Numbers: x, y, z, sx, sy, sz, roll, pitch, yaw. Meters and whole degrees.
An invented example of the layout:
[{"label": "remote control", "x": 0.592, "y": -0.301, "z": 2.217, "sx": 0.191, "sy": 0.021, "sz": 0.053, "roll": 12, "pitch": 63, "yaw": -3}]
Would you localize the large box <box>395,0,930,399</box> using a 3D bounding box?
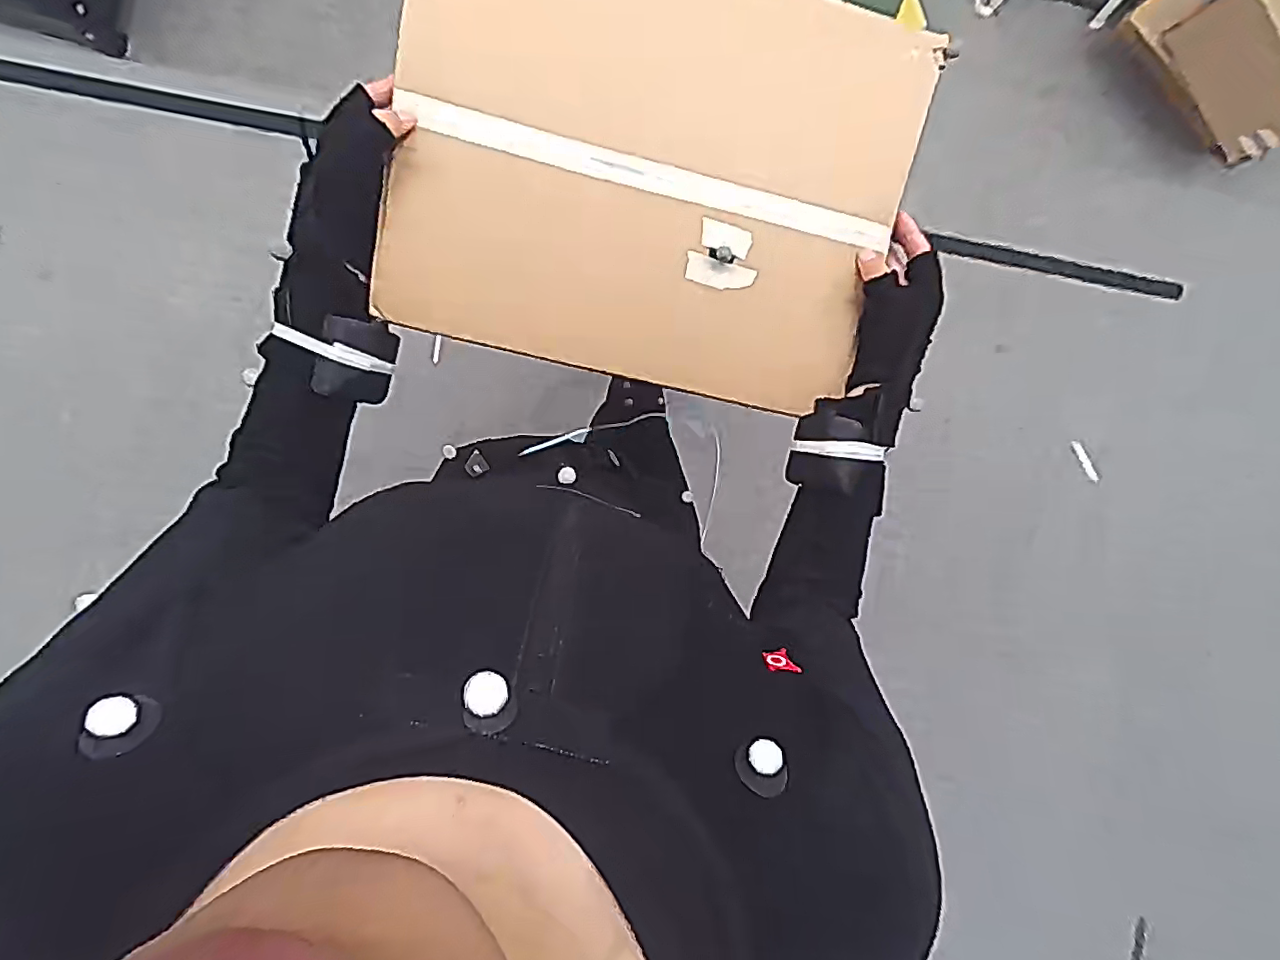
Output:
[{"label": "large box", "x": 0.001, "y": -0.287, "z": 0.590, "sx": 0.408, "sy": 0.320, "sz": 0.320, "roll": 11, "pitch": 102, "yaw": -8}]
